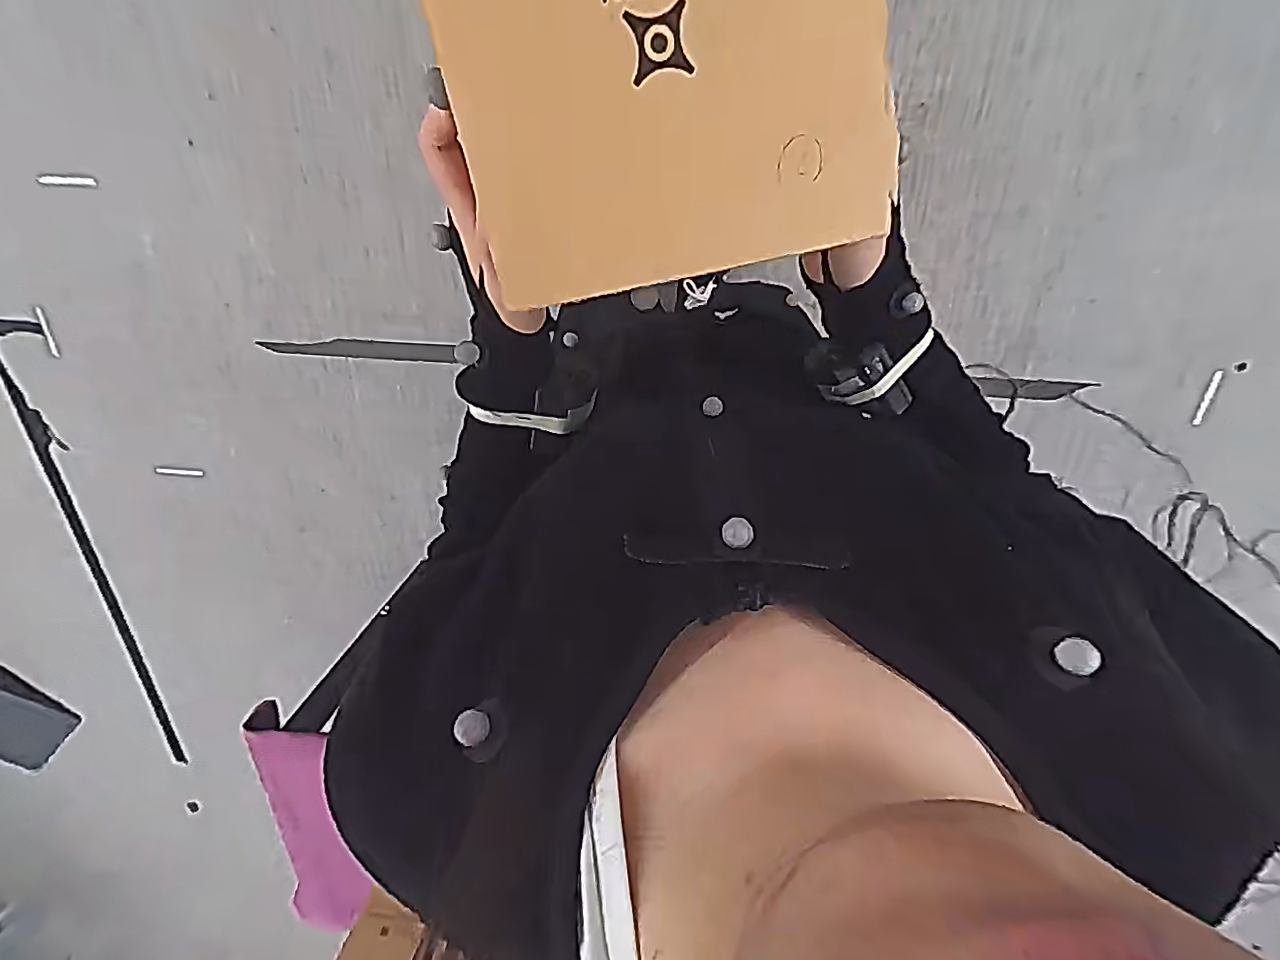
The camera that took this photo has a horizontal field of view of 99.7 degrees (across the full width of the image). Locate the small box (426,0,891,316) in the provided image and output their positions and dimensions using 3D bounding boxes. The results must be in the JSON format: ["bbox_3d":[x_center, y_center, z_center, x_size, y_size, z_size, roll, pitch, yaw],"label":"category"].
[{"bbox_3d":[0.009,-0.193,0.270,0.168,0.176,0.179,-10,111,4],"label":"small box"}]

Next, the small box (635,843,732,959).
[{"bbox_3d":[0.081,0.844,1.038,0.168,0.176,0.179,5,113,3],"label":"small box"}]

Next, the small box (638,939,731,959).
[{"bbox_3d":[0.068,0.909,0.888,0.168,0.176,0.179,6,114,3],"label":"small box"}]
